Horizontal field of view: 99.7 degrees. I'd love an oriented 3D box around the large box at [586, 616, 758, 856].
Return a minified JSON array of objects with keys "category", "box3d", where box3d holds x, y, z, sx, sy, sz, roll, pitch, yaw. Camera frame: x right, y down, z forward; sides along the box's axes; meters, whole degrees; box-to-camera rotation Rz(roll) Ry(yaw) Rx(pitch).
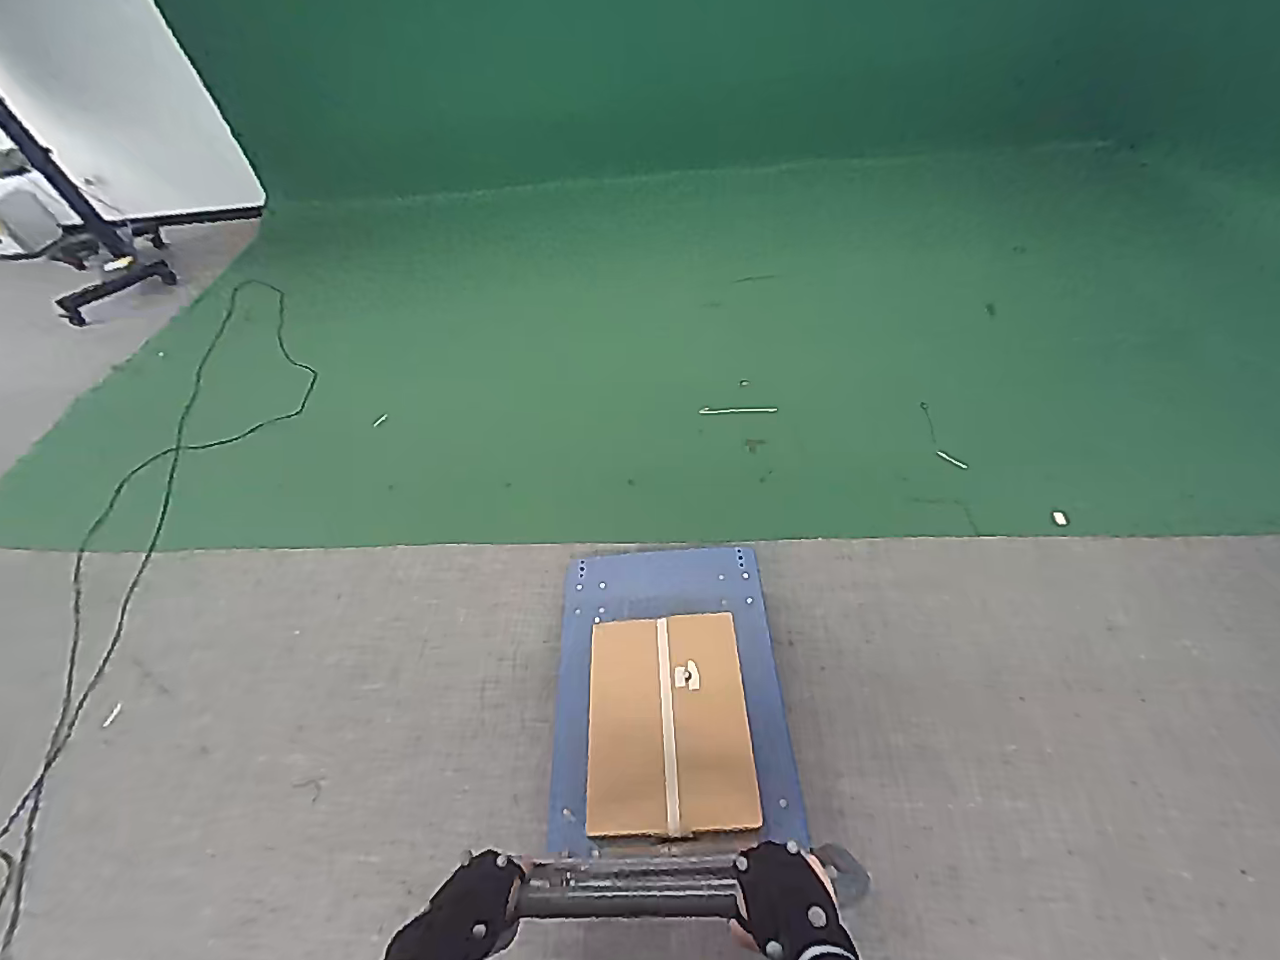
[{"category":"large box","box3d":[0.069,0.564,1.194,0.320,0.320,0.408,-5,48,4]}]
